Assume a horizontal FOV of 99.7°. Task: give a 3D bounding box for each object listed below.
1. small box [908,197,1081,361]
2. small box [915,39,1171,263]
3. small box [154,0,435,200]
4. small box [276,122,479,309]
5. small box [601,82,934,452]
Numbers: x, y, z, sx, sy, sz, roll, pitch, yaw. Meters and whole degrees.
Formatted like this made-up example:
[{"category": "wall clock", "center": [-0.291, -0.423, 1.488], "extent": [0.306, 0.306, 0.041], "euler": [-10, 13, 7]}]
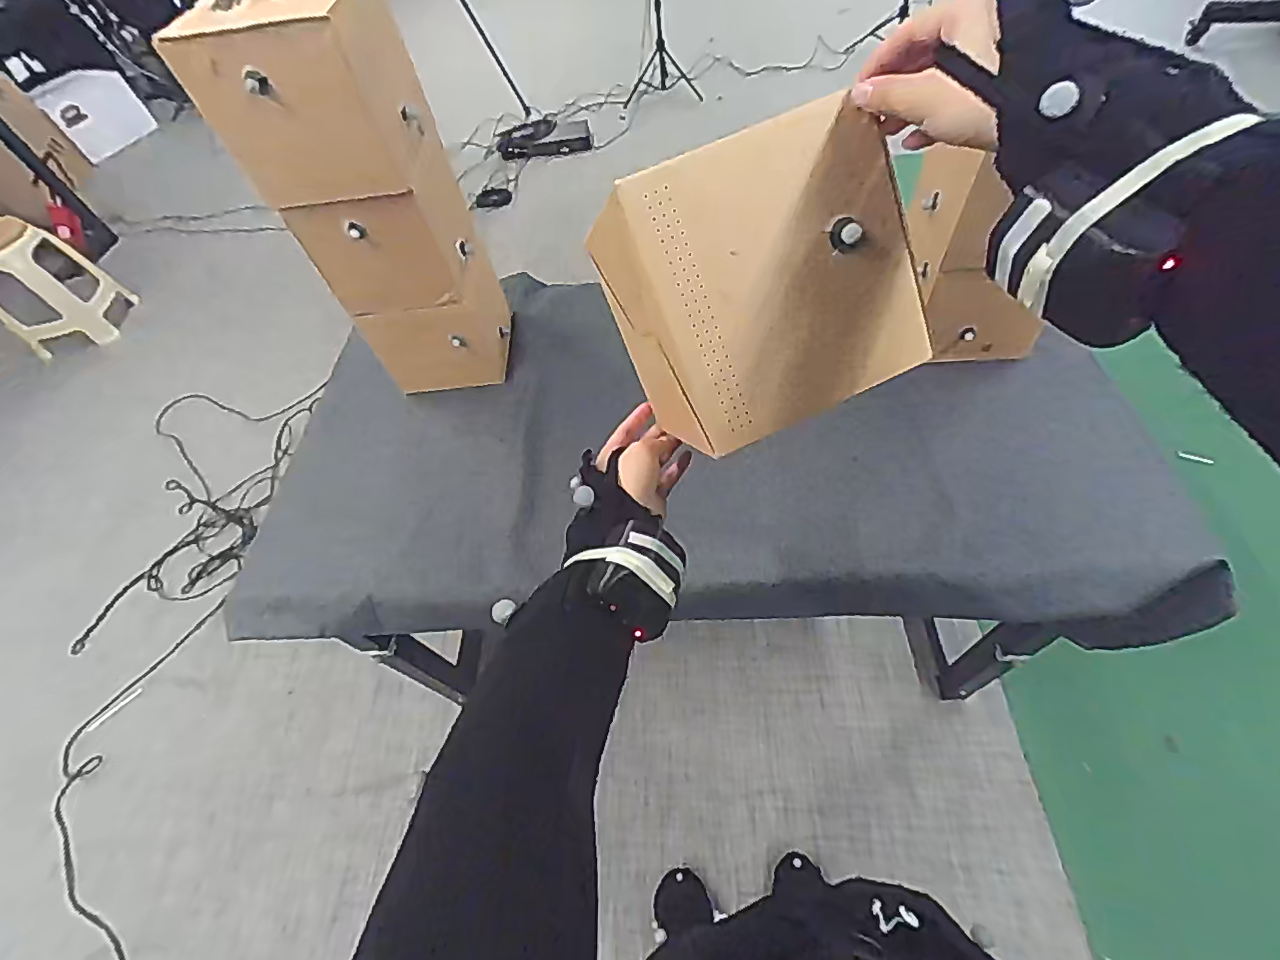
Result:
[{"category": "small box", "center": [0.475, -0.294, 0.783], "extent": [0.168, 0.176, 0.179], "euler": [-1, 58, 8]}, {"category": "small box", "center": [0.451, -0.378, 0.644], "extent": [0.168, 0.176, 0.179], "euler": [0, 58, 8]}, {"category": "small box", "center": [-0.359, -0.438, 0.604], "extent": [0.179, 0.176, 0.168], "euler": [-4, 58, 4]}, {"category": "small box", "center": [-0.344, -0.357, 0.746], "extent": [0.179, 0.176, 0.168], "euler": [-5, 58, 3]}, {"category": "small box", "center": [0.076, -0.142, 0.407], "extent": [0.176, 0.179, 0.168], "euler": [-24, 16, -6]}]
